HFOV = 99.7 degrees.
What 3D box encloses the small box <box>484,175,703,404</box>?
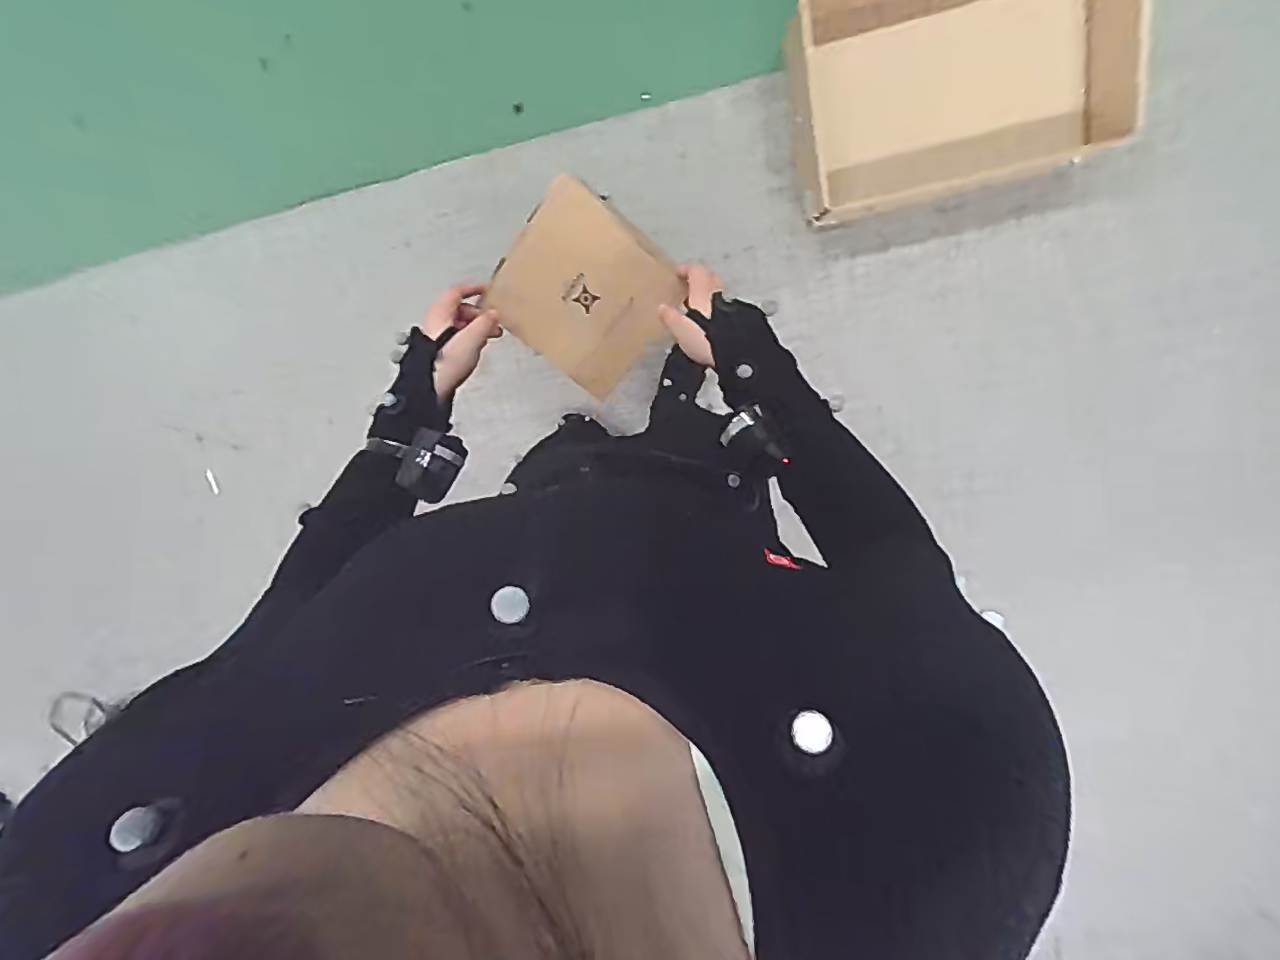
[{"bbox_3d":[-0.049,-0.225,0.639,0.179,0.176,0.168,36,113,-17],"label":"small box"}]
